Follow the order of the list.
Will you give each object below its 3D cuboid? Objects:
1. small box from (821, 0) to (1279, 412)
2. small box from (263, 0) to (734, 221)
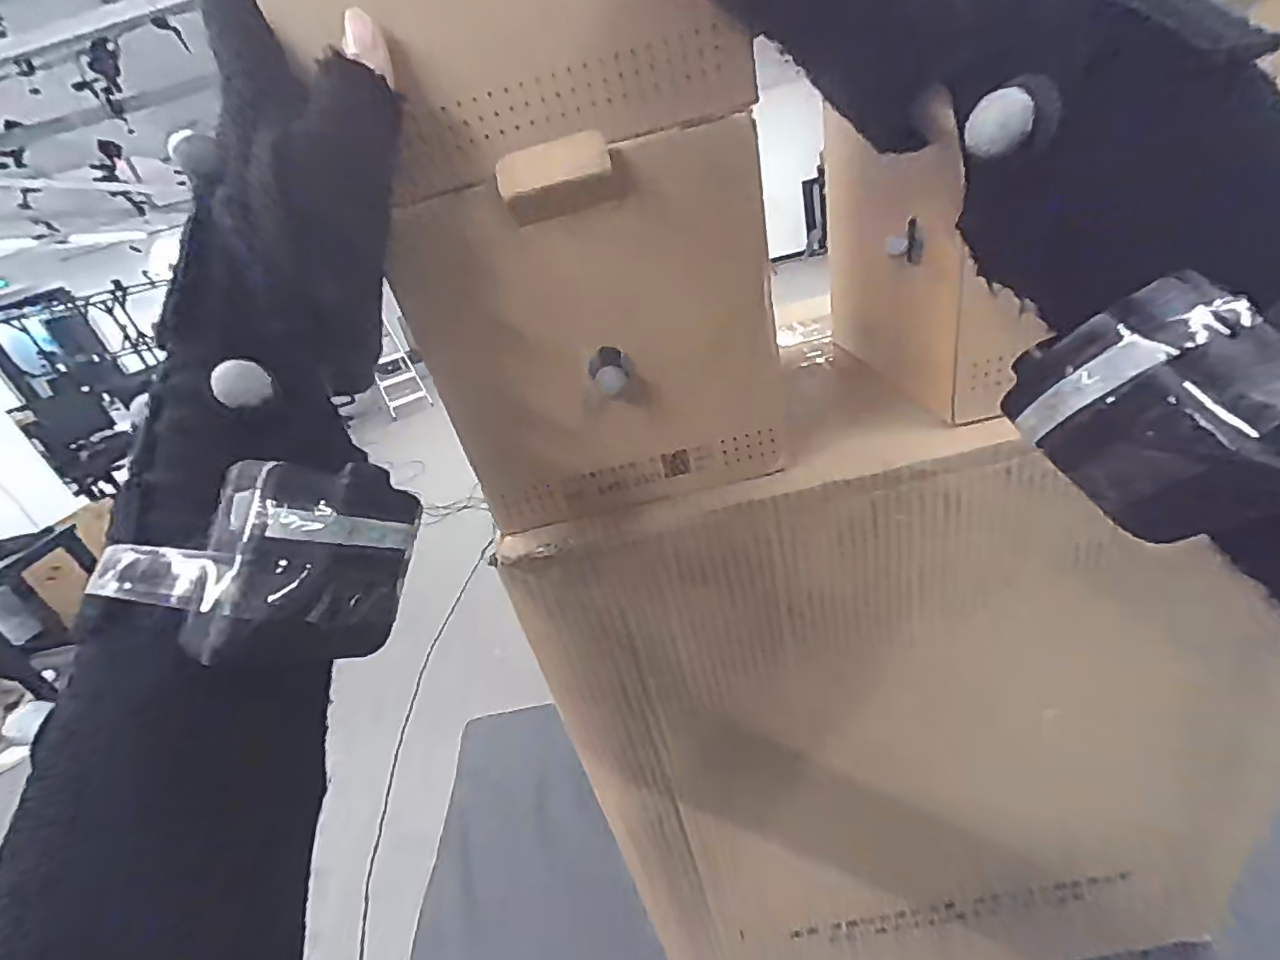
[{"bbox_3d":[0.219,-0.149,0.317,0.168,0.176,0.179,-11,28,2],"label":"small box"},{"bbox_3d":[-0.059,-0.239,0.252,0.179,0.176,0.168,-13,31,5],"label":"small box"}]
